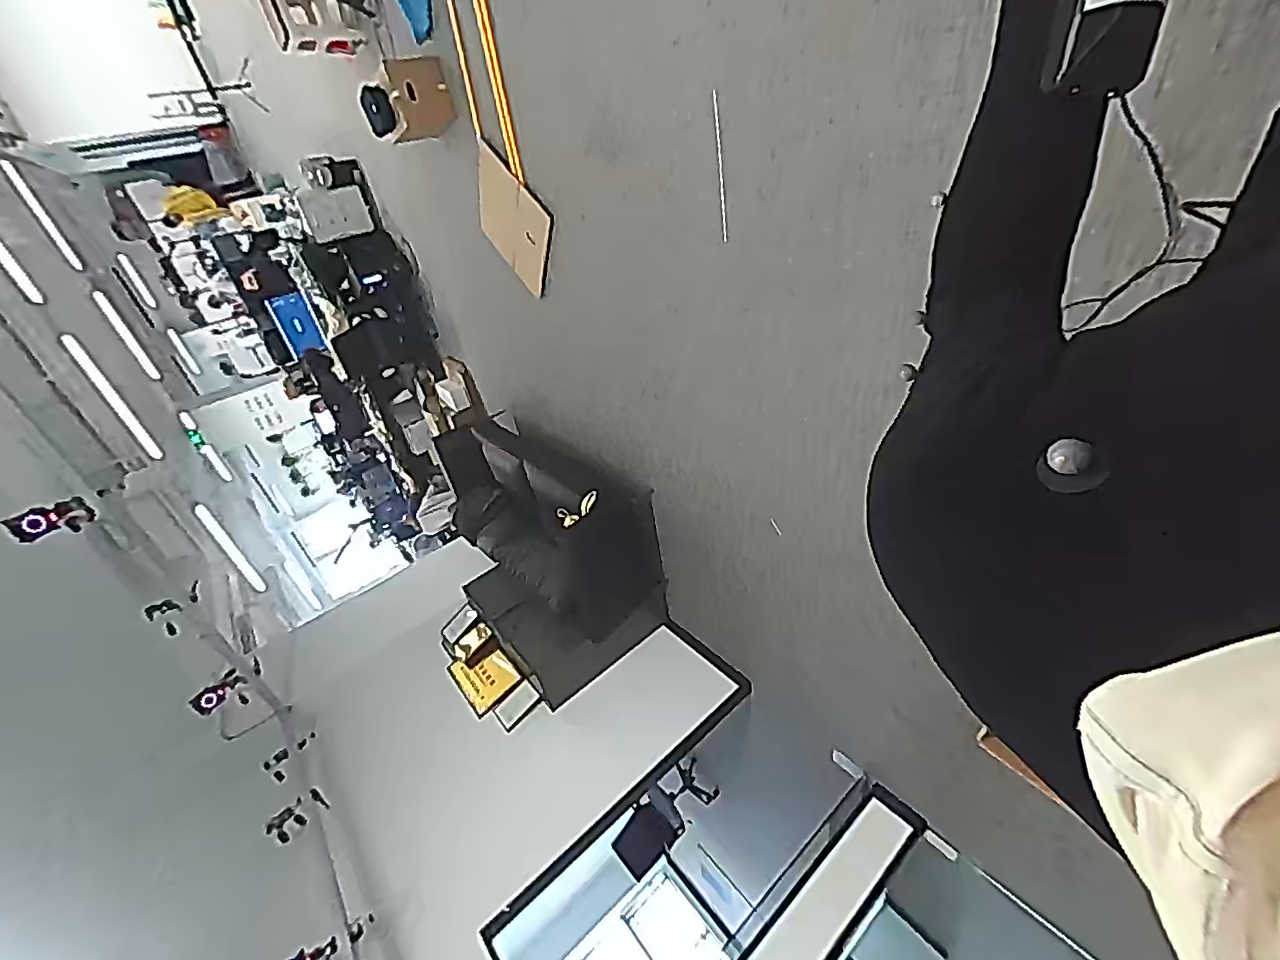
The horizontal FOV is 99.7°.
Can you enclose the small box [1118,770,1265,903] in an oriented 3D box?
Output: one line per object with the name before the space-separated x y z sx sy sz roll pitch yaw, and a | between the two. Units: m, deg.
small box | 1.290 0.829 1.267 0.179 0.176 0.168 35 144 37
